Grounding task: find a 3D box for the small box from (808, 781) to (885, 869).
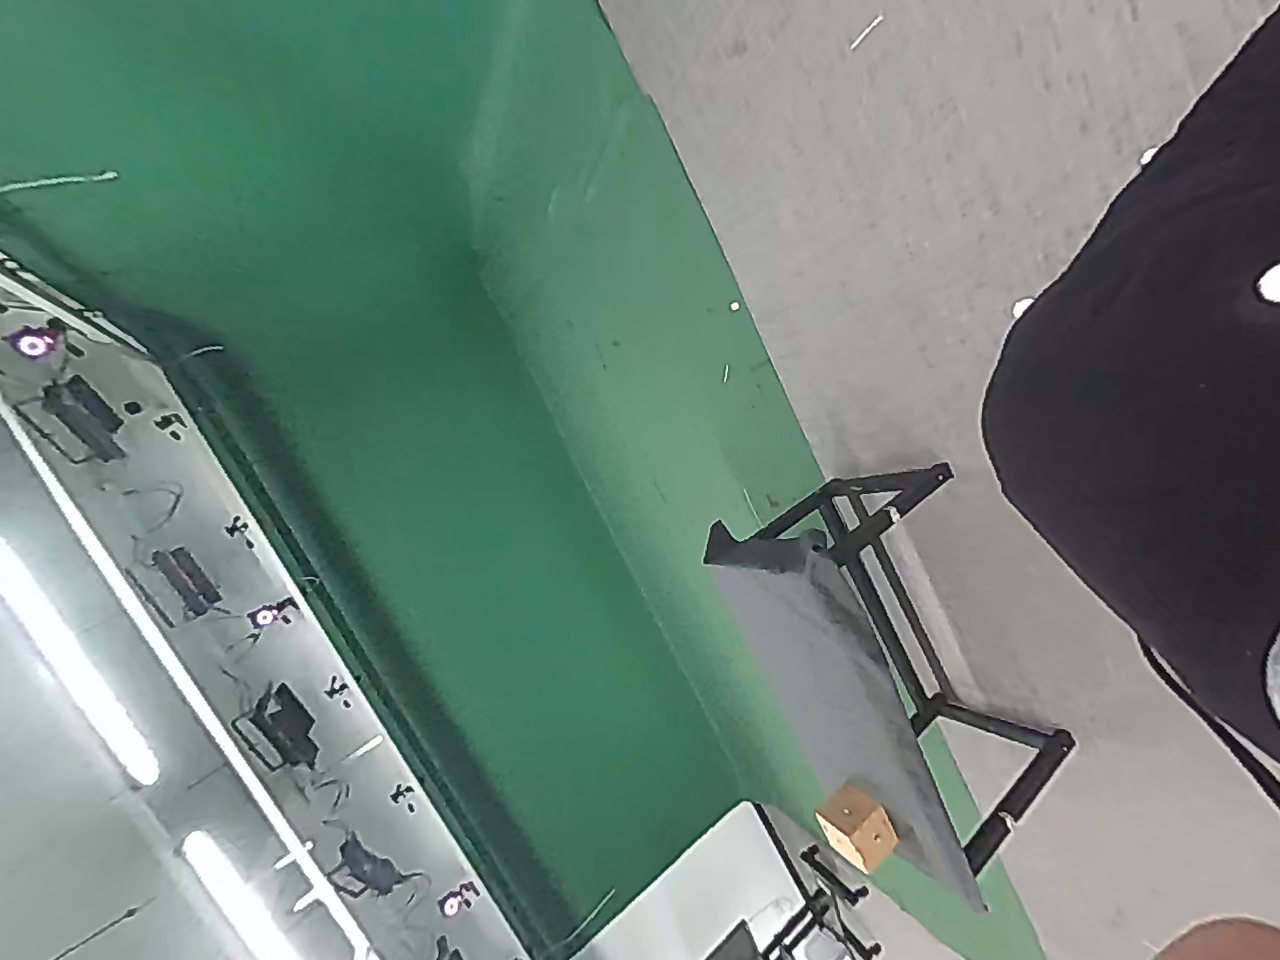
[{"bbox_3d":[0.744,1.219,1.929,0.168,0.176,0.179,64,157,-8],"label":"small box"}]
